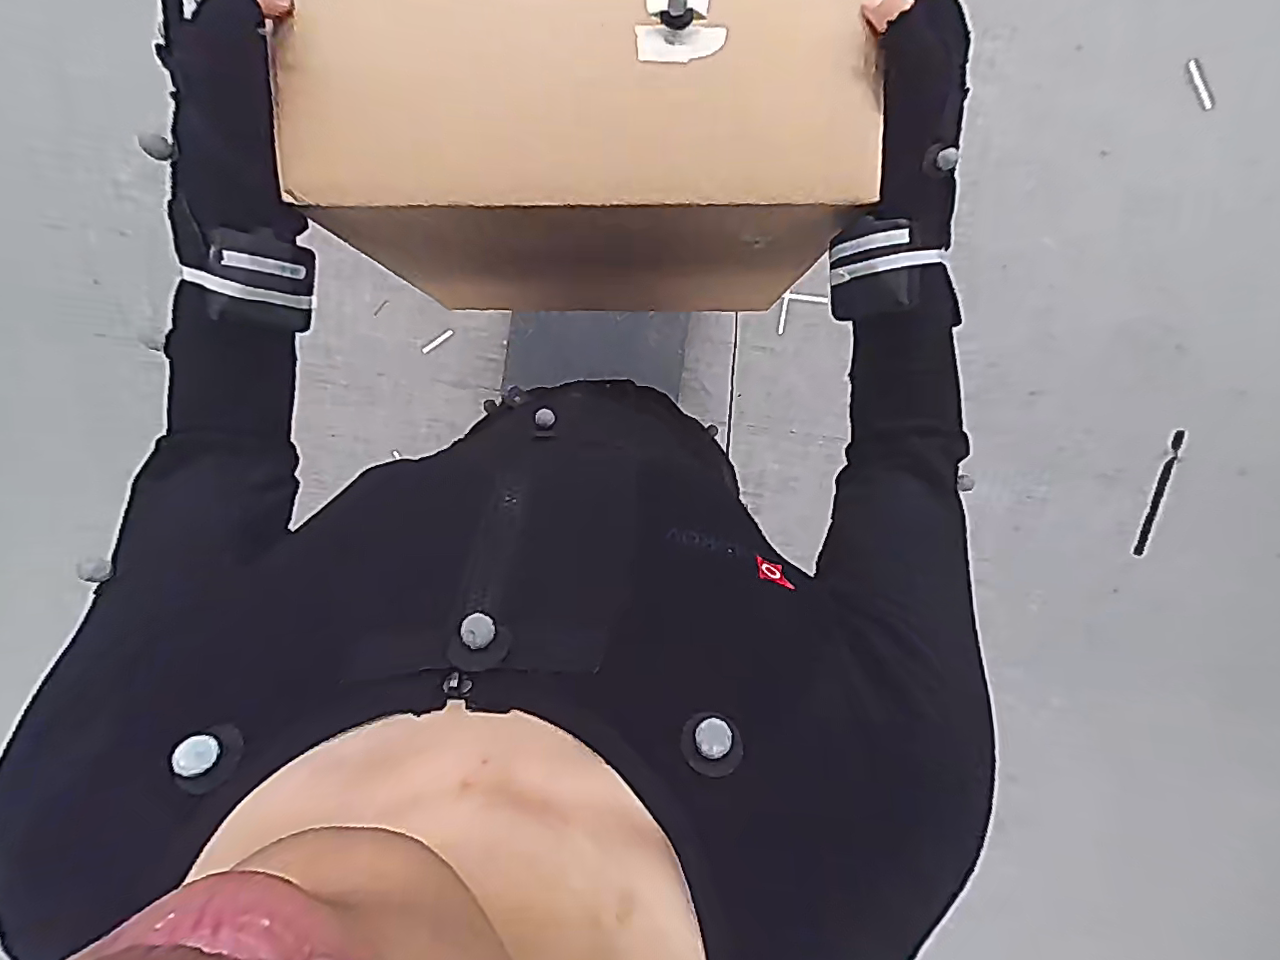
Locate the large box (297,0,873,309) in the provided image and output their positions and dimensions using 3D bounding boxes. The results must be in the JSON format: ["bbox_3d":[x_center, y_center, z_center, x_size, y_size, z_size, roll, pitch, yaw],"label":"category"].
[{"bbox_3d":[-0.039,-0.359,0.519,0.408,0.320,0.320,0,95,0],"label":"large box"}]
